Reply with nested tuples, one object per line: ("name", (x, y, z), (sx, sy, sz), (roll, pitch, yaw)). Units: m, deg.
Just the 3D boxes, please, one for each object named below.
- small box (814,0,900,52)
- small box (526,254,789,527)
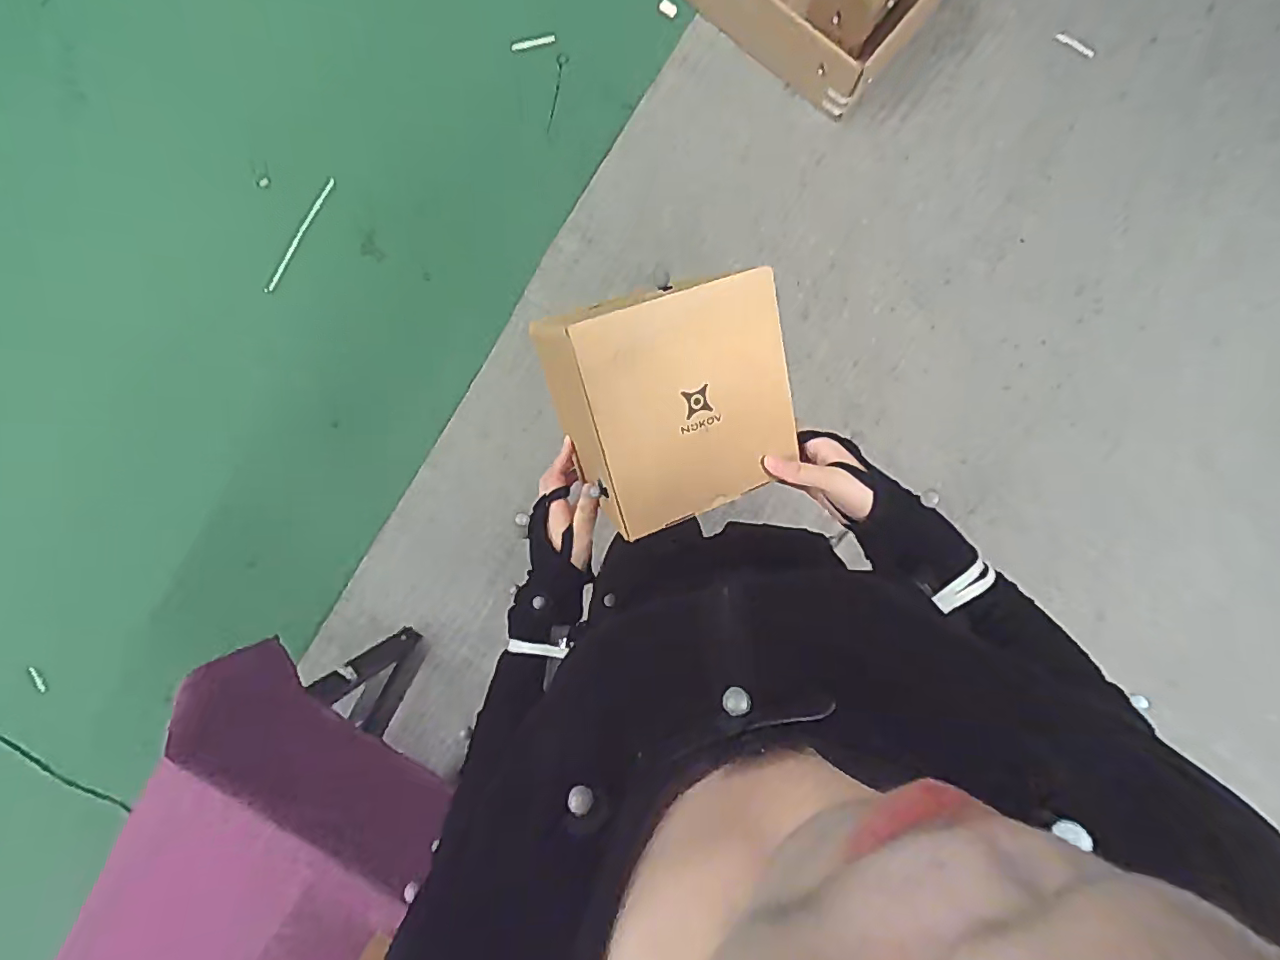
("small box", (0.531, -1.176, 1.274), (0.168, 0.176, 0.179), (37, 96, 3))
("small box", (0.008, -0.089, 0.490), (0.168, 0.176, 0.179), (-21, 114, -13))
